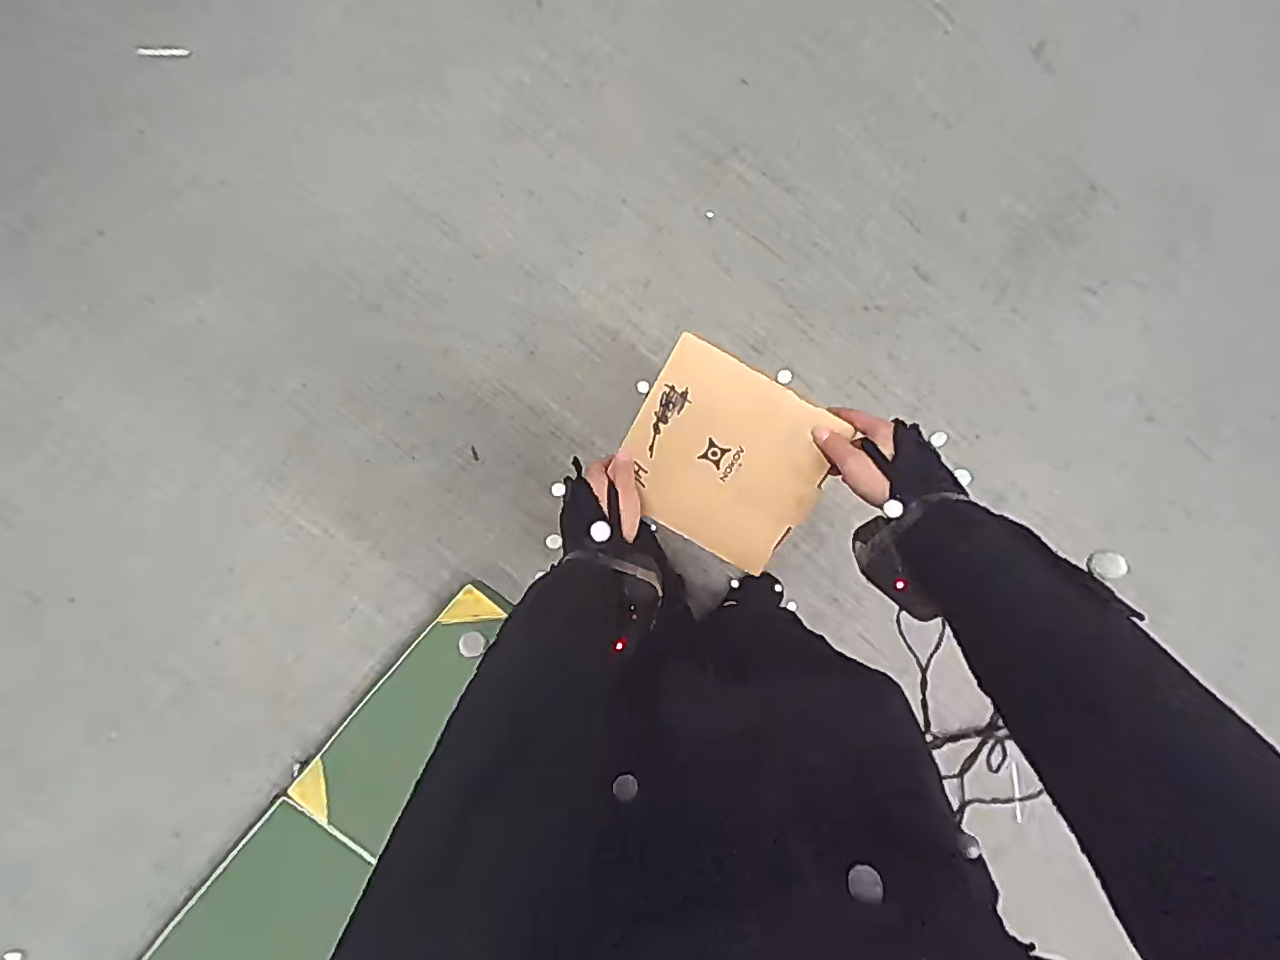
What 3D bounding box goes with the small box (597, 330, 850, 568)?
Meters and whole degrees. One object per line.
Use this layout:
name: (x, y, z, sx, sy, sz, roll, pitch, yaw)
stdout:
small box: (0.083, -0.045, 0.566, 0.179, 0.176, 0.168, 30, 107, 0)
